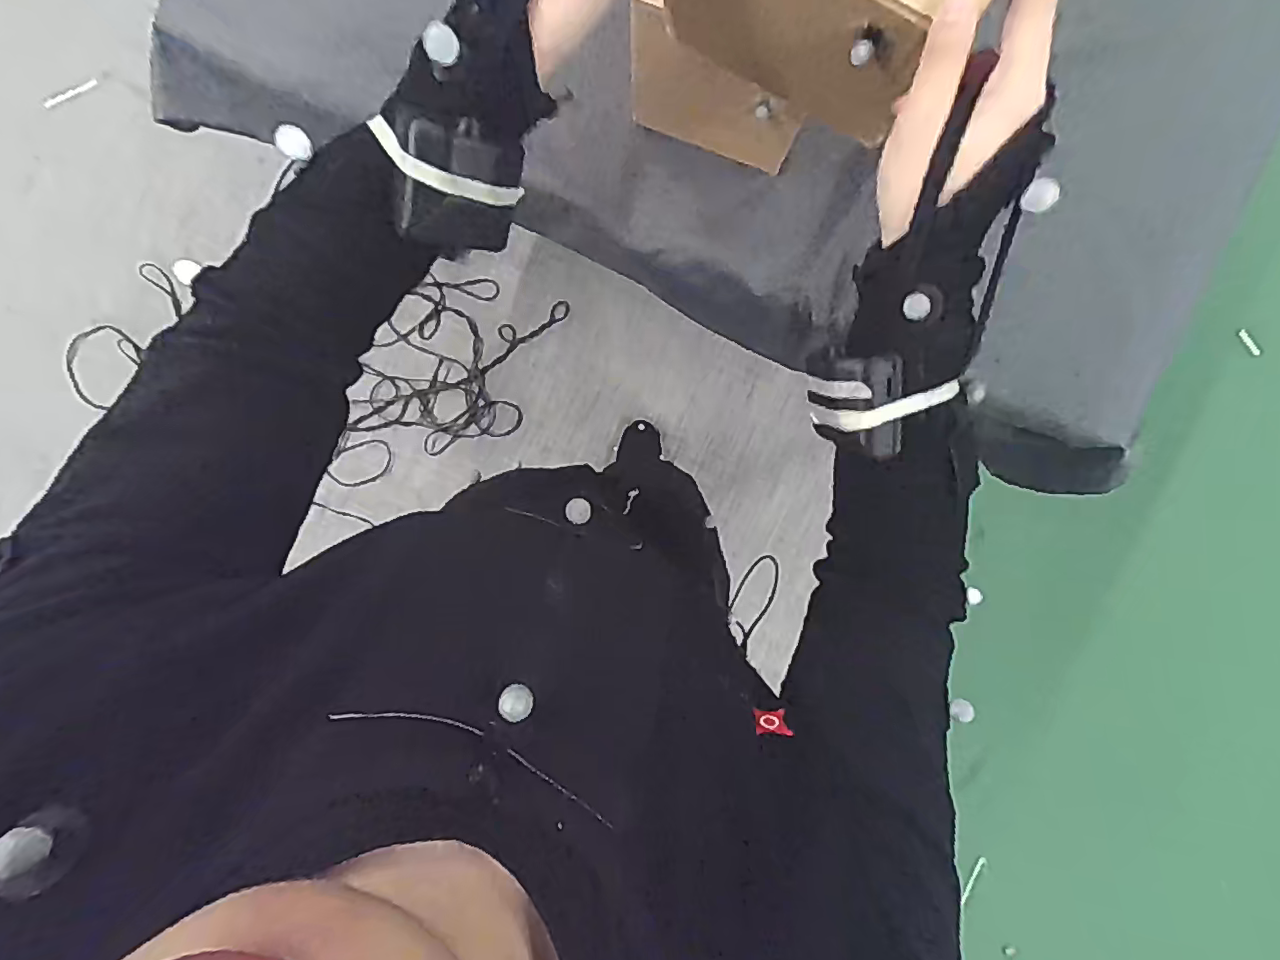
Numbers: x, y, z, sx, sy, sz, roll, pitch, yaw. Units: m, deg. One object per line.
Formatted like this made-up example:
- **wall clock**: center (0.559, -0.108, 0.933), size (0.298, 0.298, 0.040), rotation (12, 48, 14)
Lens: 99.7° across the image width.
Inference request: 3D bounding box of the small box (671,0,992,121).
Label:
- **small box**: center (0.120, -0.334, 0.291), size (0.179, 0.176, 0.168), rotation (27, 109, -2)
